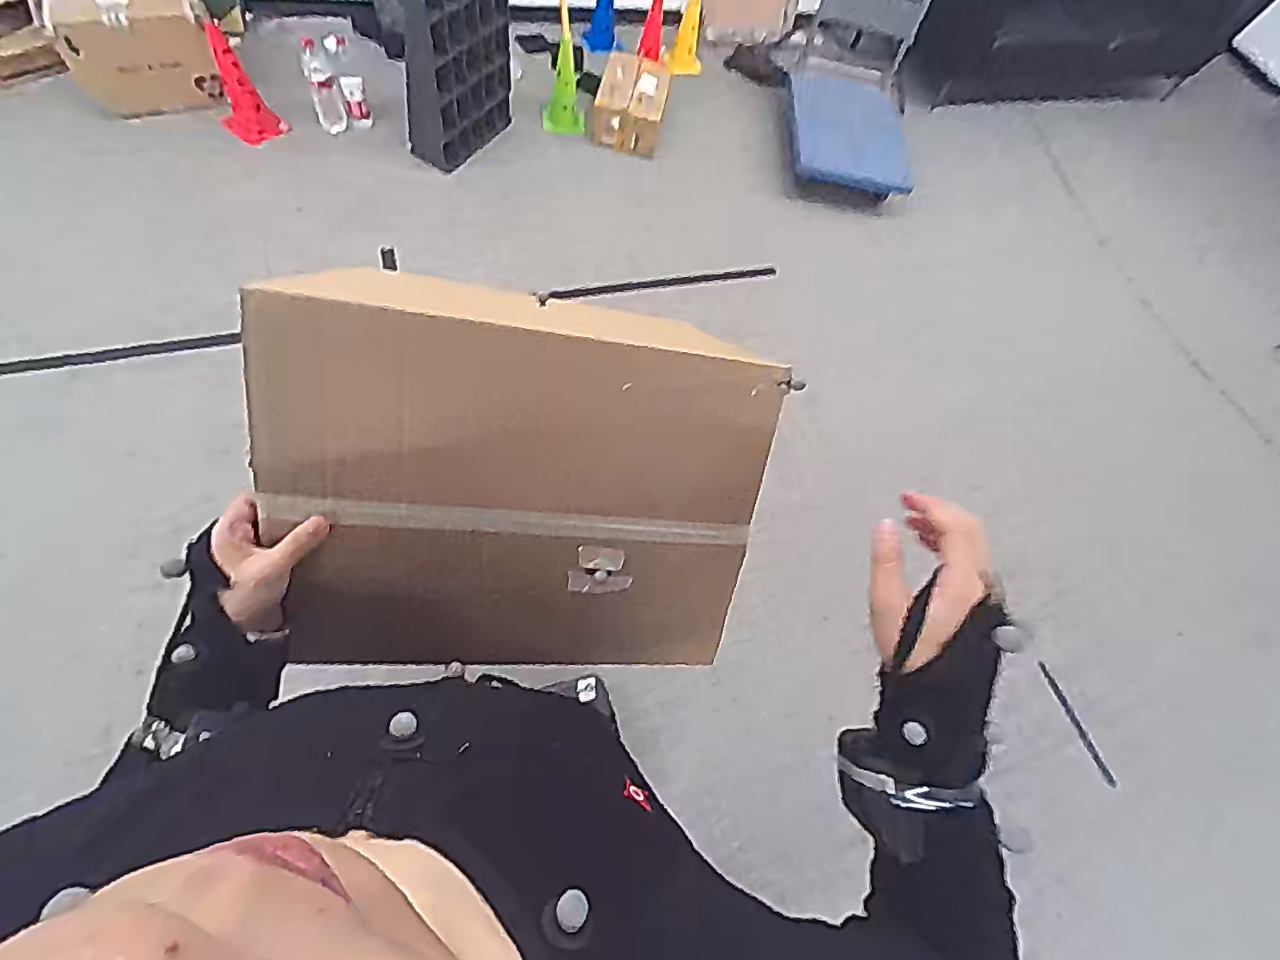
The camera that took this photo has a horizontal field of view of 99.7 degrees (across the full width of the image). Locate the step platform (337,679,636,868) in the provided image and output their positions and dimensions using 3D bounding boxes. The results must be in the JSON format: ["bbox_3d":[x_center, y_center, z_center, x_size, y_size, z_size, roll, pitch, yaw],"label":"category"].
[{"bbox_3d":[-0.353,0.695,1.324,0.684,0.204,0.286,-6,66,-15],"label":"step platform"}]

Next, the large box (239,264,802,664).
[{"bbox_3d":[-0.114,-0.038,0.572,0.408,0.320,0.320,3,24,-15],"label":"large box"}]
